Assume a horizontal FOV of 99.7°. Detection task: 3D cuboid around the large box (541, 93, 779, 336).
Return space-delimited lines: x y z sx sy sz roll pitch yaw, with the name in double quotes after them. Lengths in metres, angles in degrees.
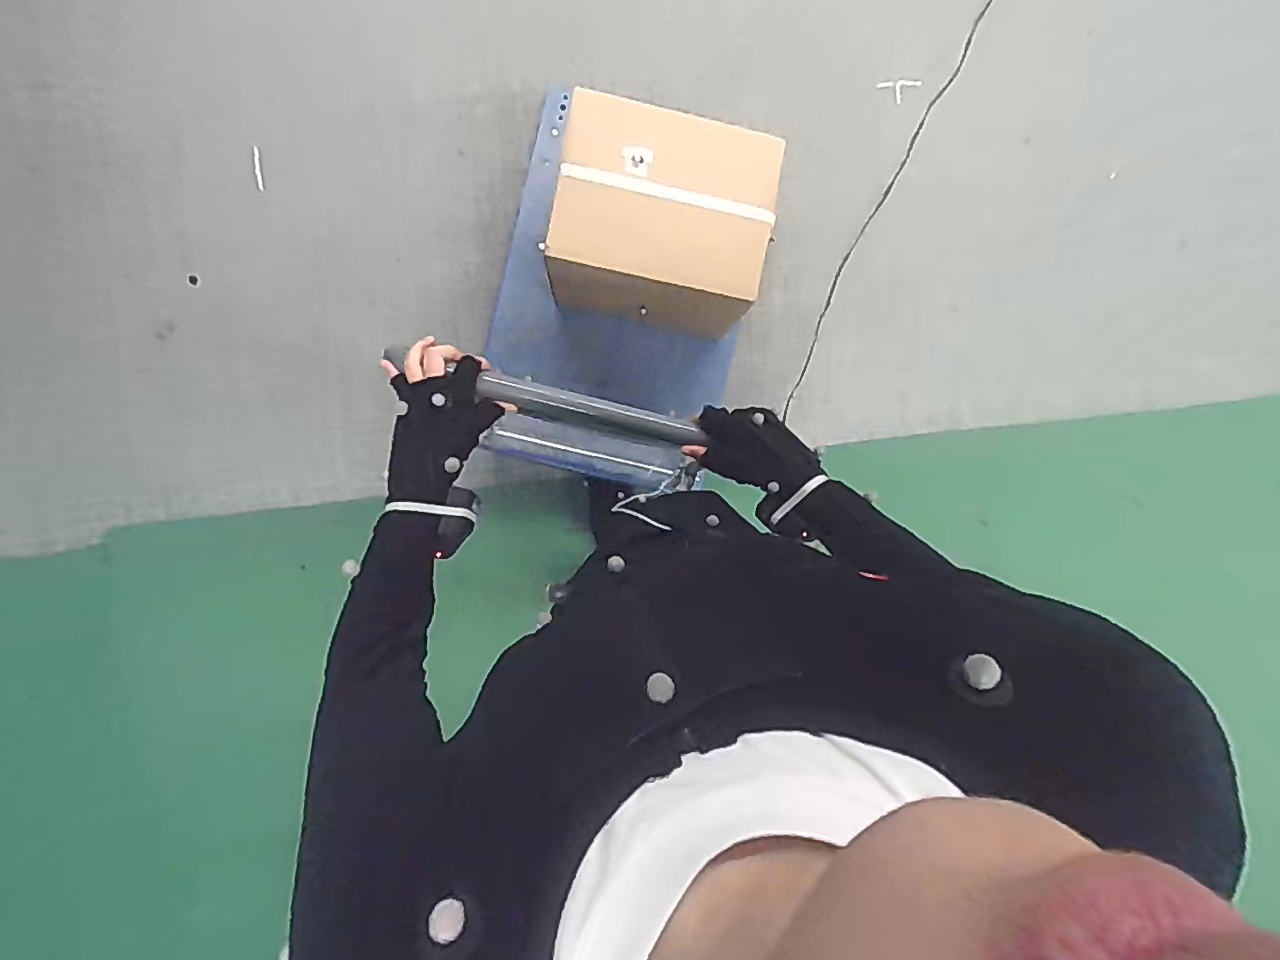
0.033 -0.524 1.144 0.408 0.320 0.320 11 89 -3 "large box"
